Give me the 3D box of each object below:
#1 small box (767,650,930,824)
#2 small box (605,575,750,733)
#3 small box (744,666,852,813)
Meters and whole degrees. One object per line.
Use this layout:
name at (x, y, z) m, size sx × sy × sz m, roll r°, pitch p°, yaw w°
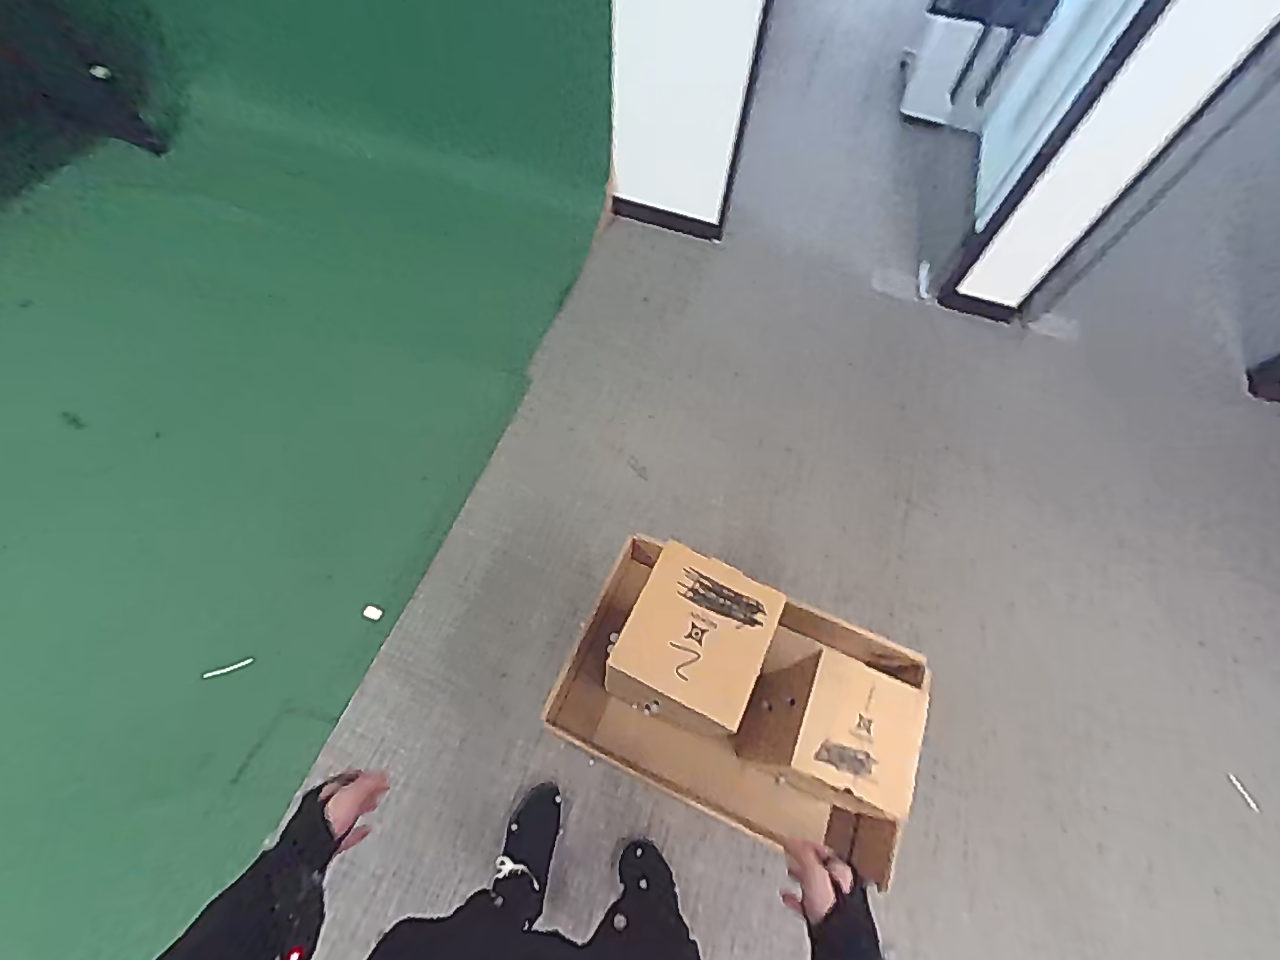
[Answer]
small box at (0.308, 0.390, 0.831) m, size 0.168 × 0.176 × 0.179 m, roll 23°, pitch 64°, yaw 9°
small box at (0.056, 0.285, 0.869) m, size 0.168 × 0.176 × 0.179 m, roll 25°, pitch 65°, yaw 8°
small box at (0.299, 0.465, 0.977) m, size 0.168 × 0.176 × 0.179 m, roll 24°, pitch 64°, yaw 9°
